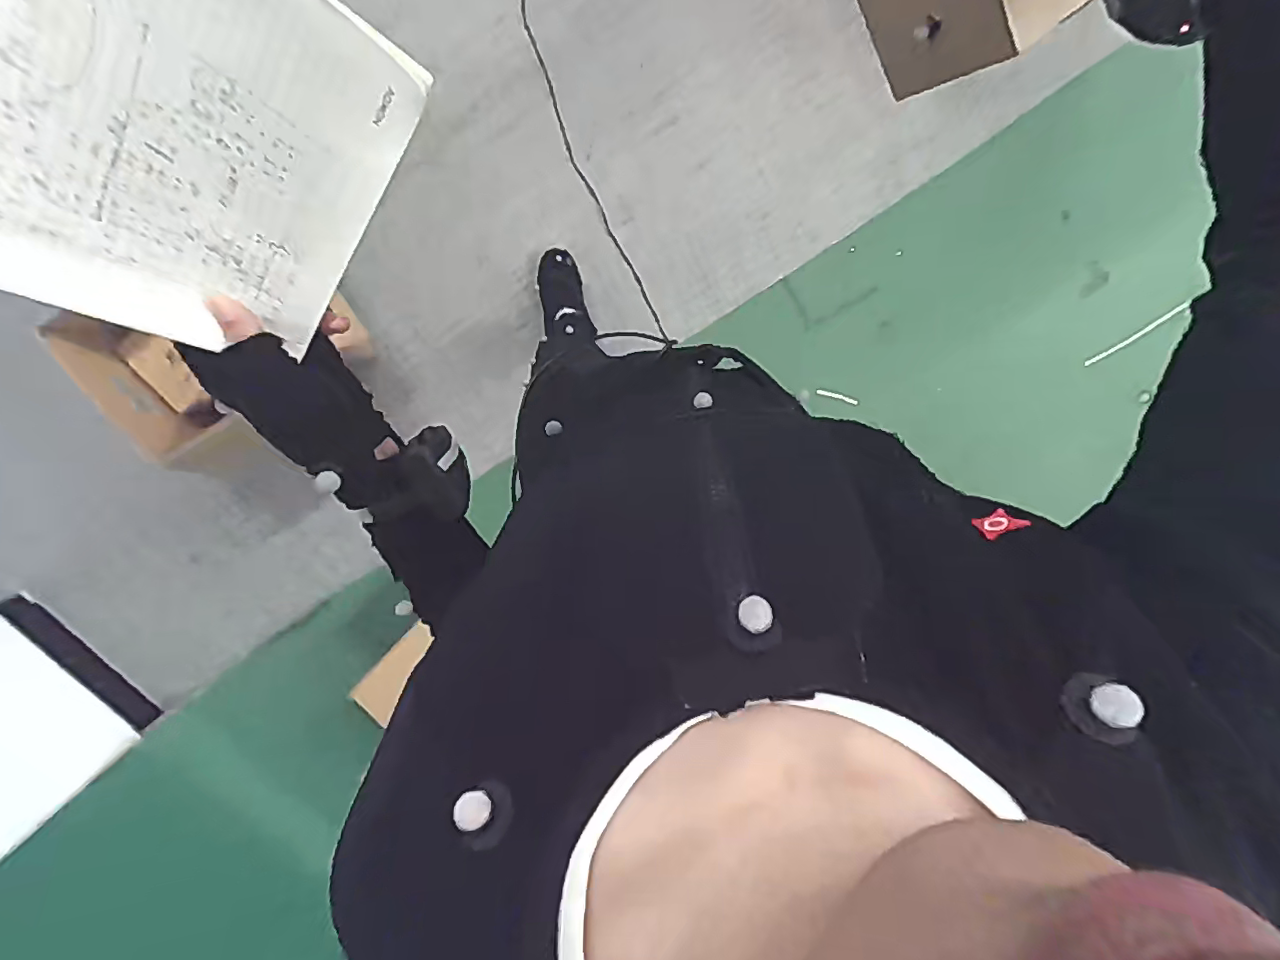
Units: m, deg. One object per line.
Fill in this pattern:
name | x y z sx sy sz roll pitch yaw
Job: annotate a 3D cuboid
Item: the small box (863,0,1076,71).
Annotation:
small box | 0.266 -0.437 0.388 0.168 0.176 0.179 -33 114 10
